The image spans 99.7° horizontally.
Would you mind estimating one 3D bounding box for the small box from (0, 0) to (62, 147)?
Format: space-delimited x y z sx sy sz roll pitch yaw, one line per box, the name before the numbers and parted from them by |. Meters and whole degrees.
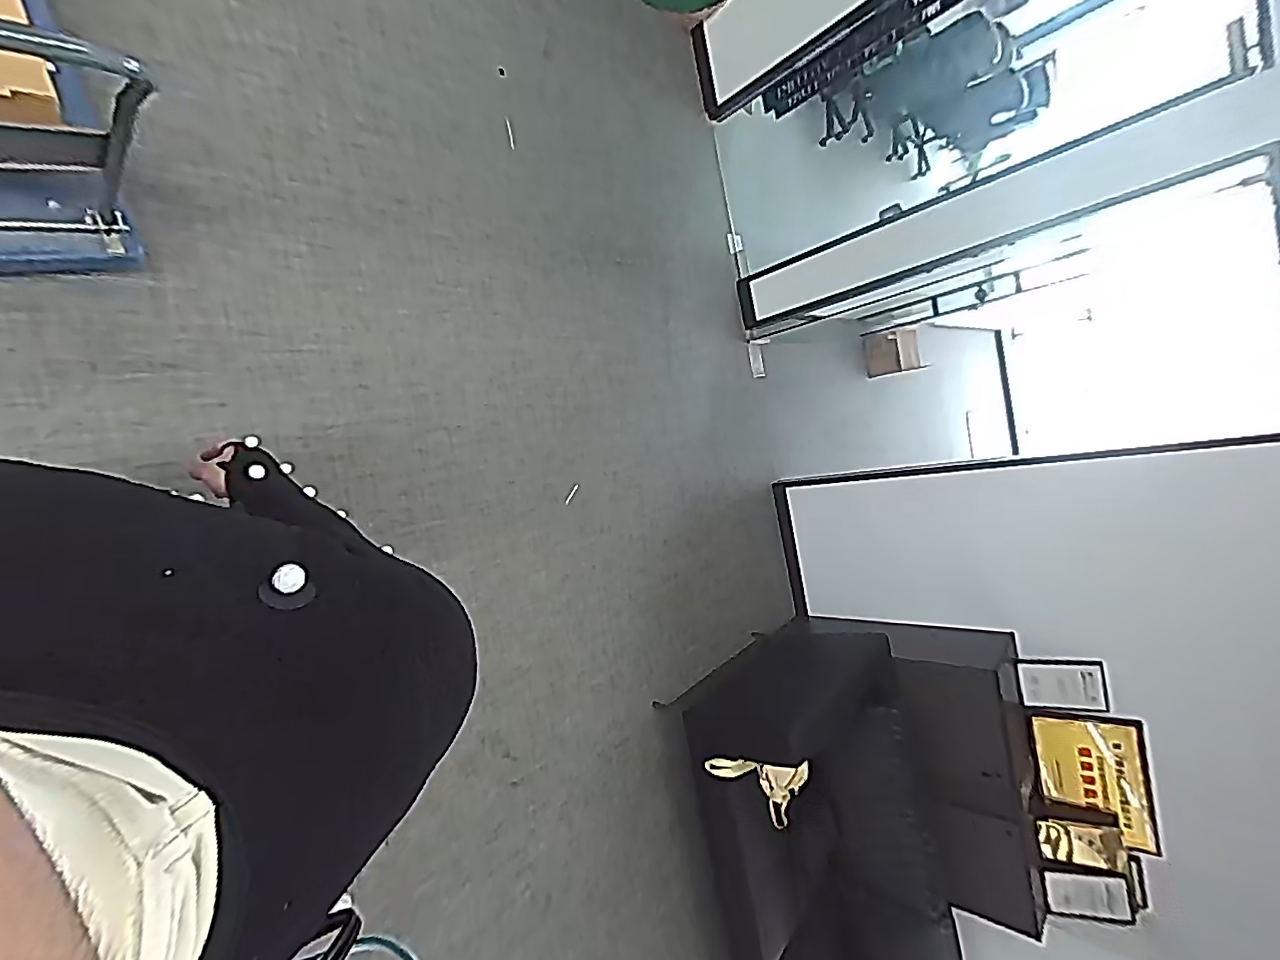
small box | -1.167 -0.730 0.952 0.168 0.176 0.179 -23 102 -45
